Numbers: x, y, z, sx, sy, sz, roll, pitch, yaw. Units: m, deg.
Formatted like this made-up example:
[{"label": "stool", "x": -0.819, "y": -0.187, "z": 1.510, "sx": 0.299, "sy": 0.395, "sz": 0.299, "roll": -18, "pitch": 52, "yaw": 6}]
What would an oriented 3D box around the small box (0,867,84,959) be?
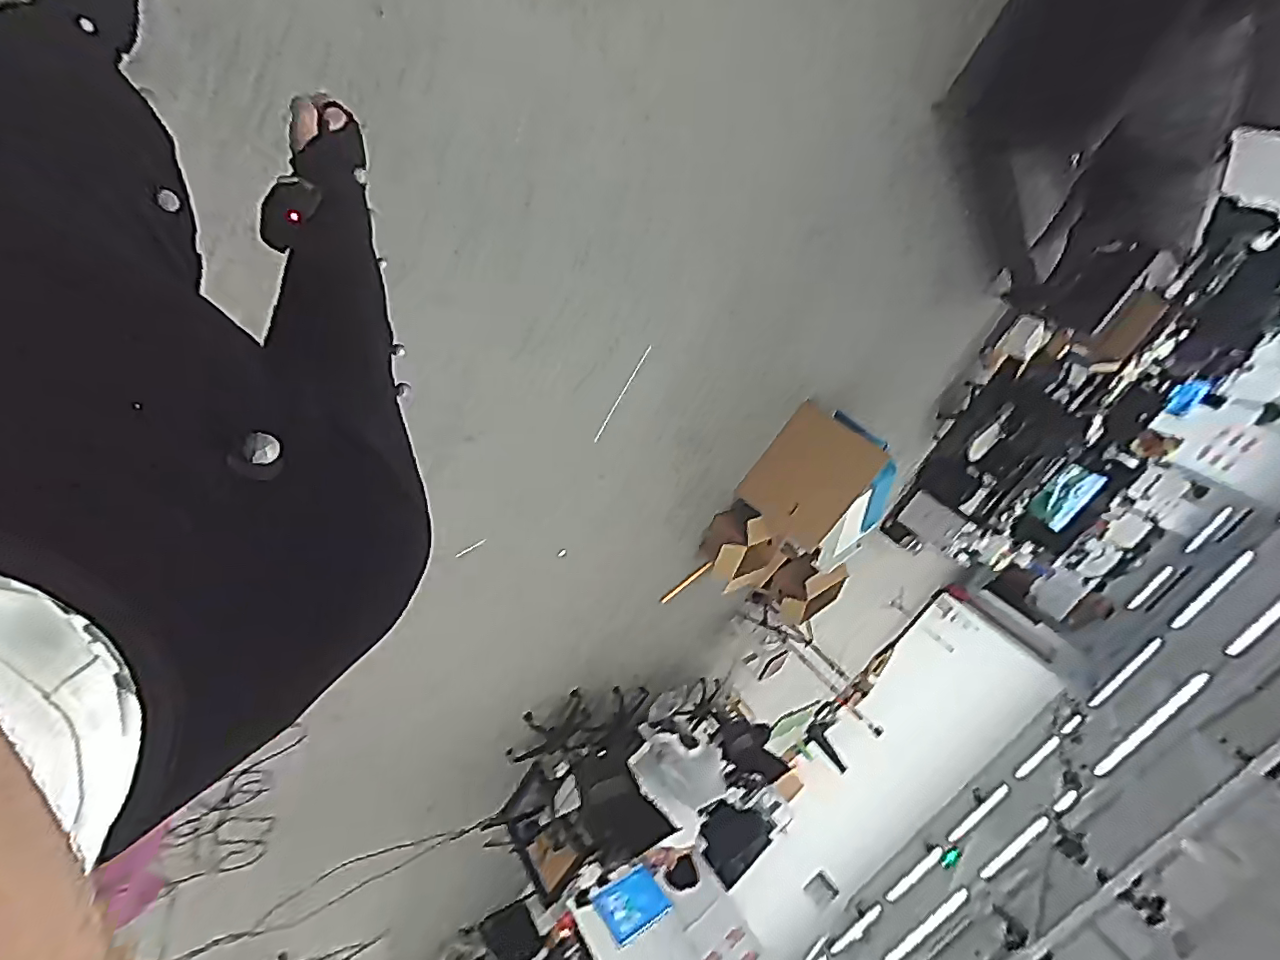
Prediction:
[{"label": "small box", "x": -1.183, "y": 0.852, "z": 0.989, "sx": 0.168, "sy": 0.176, "sz": 0.179, "roll": -32, "pitch": 142, "yaw": -18}]
